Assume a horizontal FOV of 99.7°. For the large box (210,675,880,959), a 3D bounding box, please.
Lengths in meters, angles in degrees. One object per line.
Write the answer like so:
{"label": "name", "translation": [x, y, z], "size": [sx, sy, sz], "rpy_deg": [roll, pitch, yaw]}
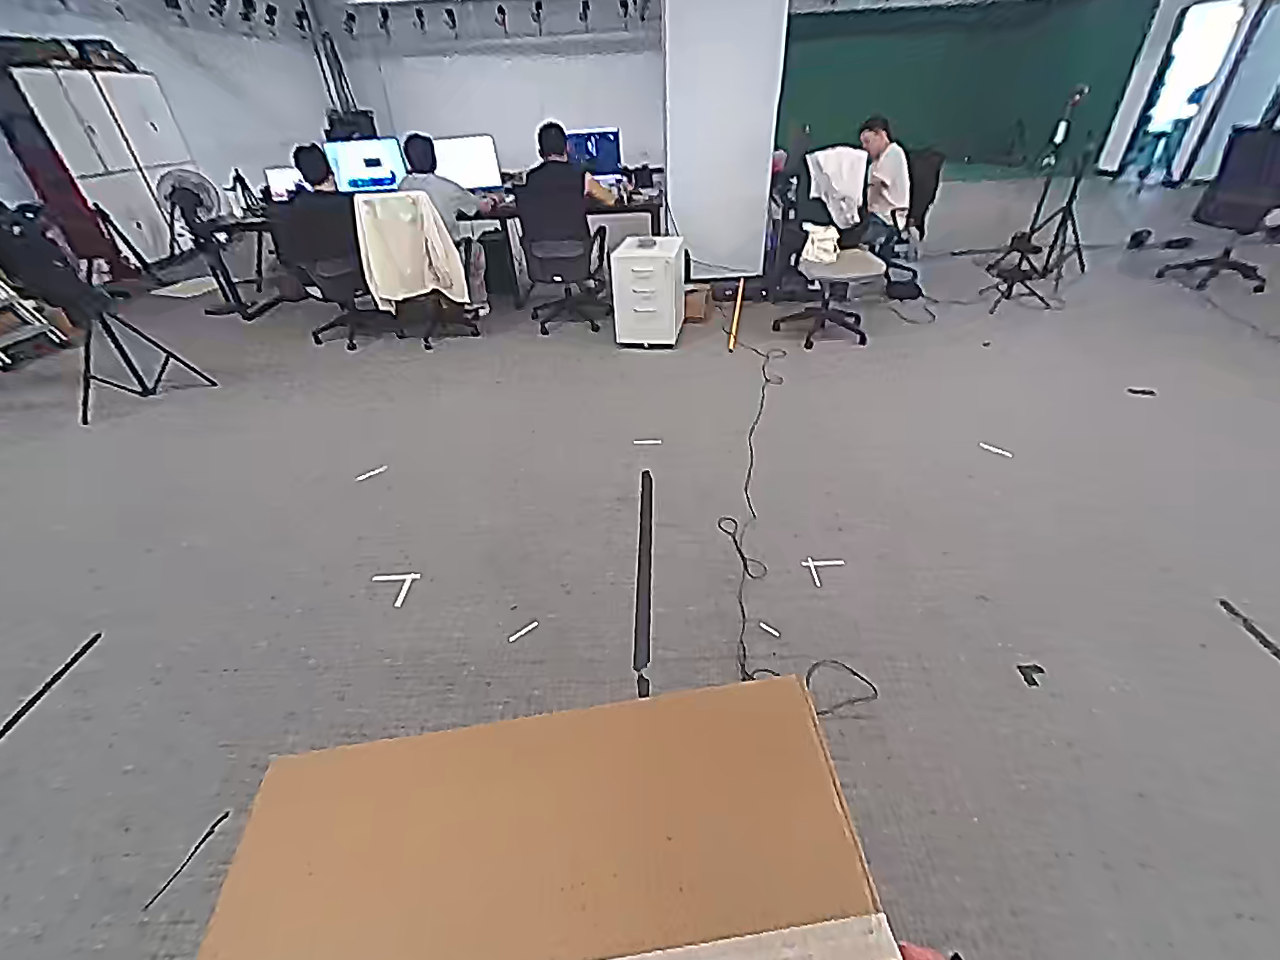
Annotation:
{"label": "large box", "translation": [-0.045, 0.394, 0.410], "size": [0.408, 0.320, 0.320], "rpy_deg": [-10, 43, -1]}
